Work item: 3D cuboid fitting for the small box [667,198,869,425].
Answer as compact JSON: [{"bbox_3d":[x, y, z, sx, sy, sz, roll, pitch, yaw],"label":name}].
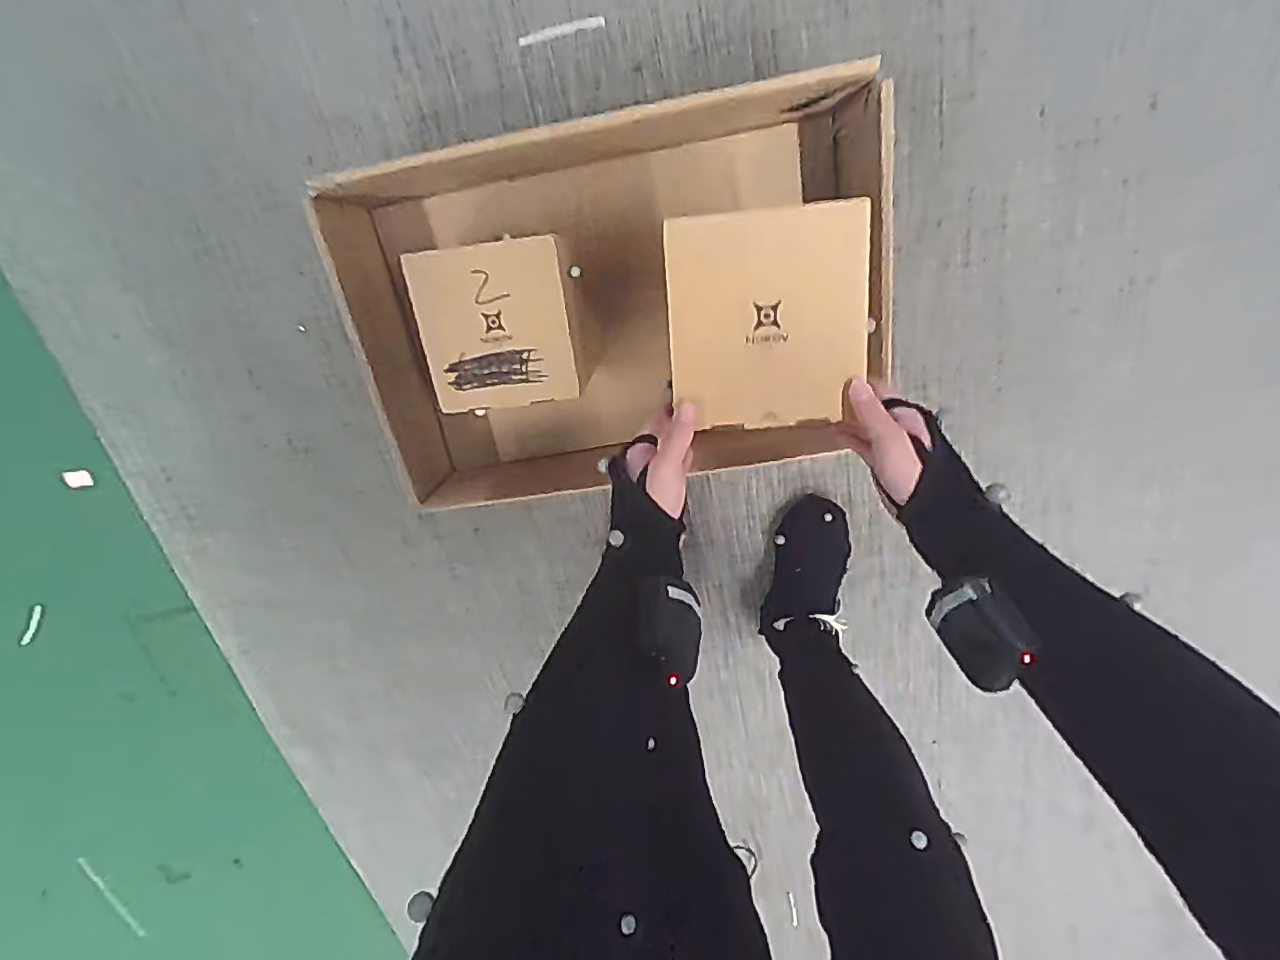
[{"bbox_3d":[0.113,-0.156,0.532,0.168,0.176,0.179,-4,105,6],"label":"small box"}]
